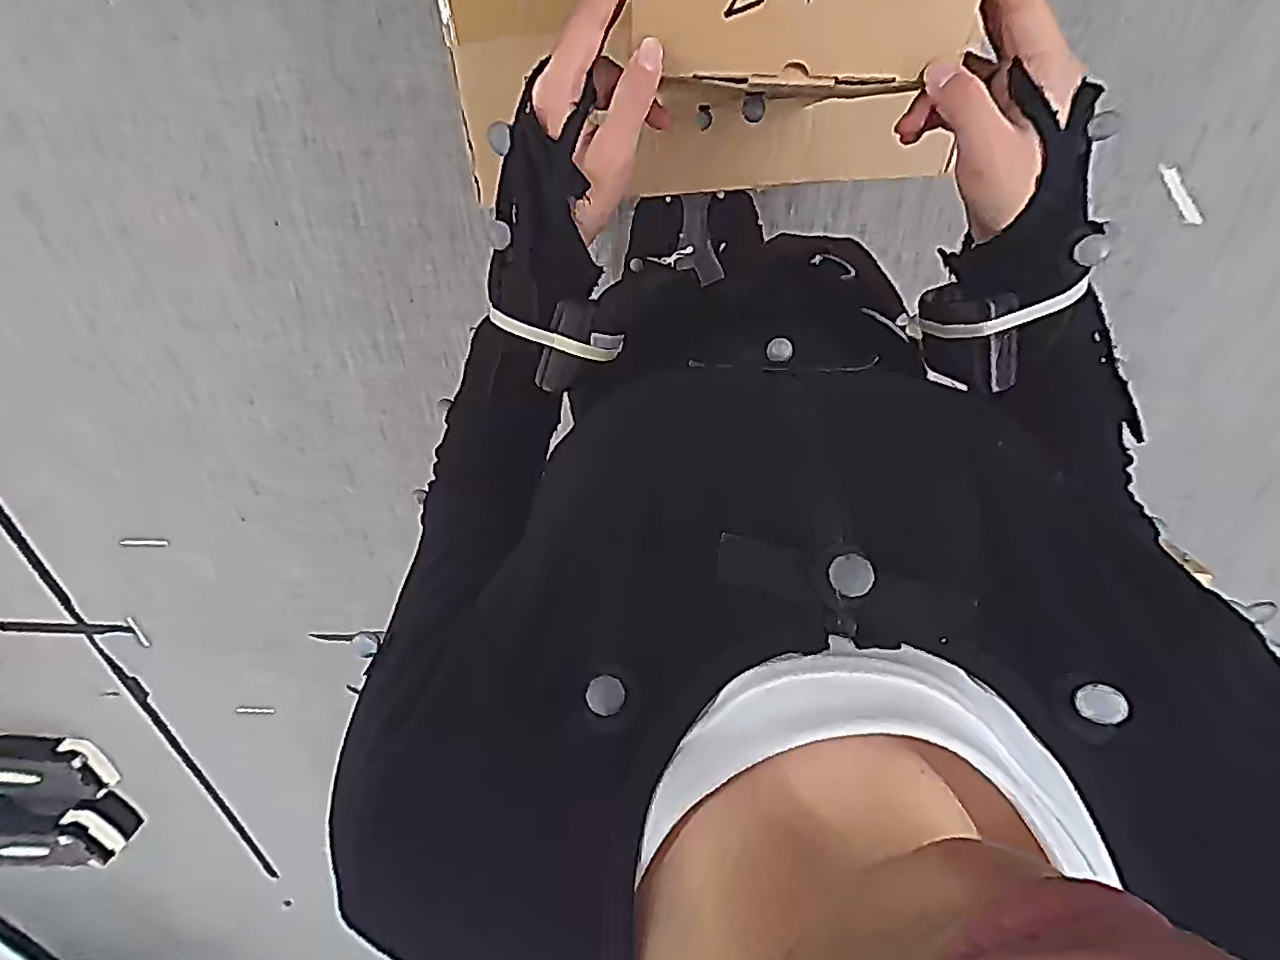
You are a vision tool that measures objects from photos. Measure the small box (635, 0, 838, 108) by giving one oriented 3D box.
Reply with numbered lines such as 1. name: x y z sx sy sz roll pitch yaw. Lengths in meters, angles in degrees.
1. small box: 0.083 -0.414 0.440 0.168 0.176 0.179 0 119 4

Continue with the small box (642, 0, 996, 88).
1. small box: 0.087 -0.323 0.283 0.168 0.176 0.179 2 123 0
